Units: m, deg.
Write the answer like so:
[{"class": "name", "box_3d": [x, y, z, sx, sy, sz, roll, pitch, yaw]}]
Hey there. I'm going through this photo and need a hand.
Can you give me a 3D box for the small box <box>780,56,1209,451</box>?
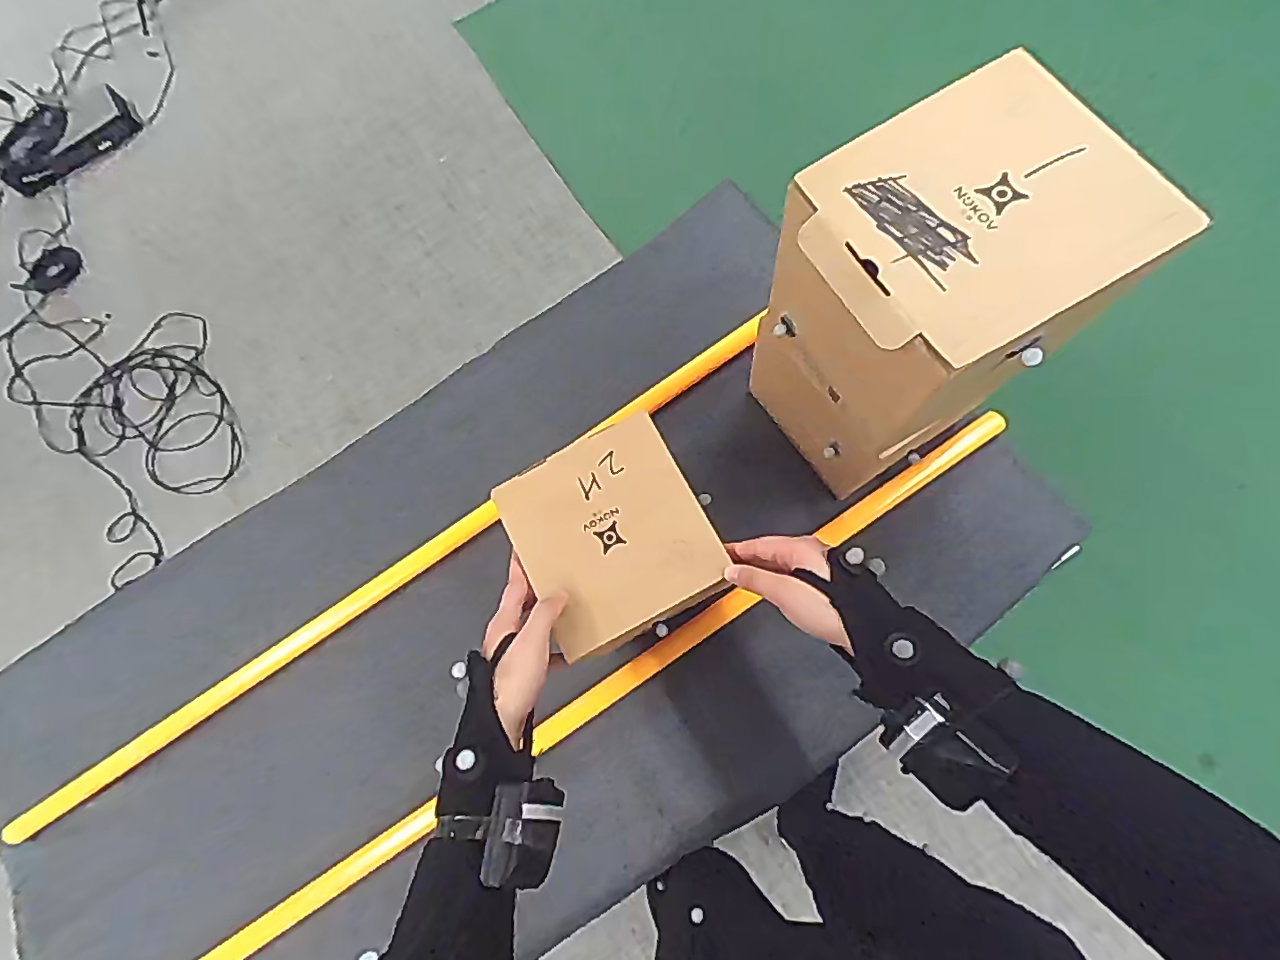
[{"class": "small box", "box_3d": [0.219, -0.144, 0.402, 0.179, 0.176, 0.168, -30, 74, -1]}]
